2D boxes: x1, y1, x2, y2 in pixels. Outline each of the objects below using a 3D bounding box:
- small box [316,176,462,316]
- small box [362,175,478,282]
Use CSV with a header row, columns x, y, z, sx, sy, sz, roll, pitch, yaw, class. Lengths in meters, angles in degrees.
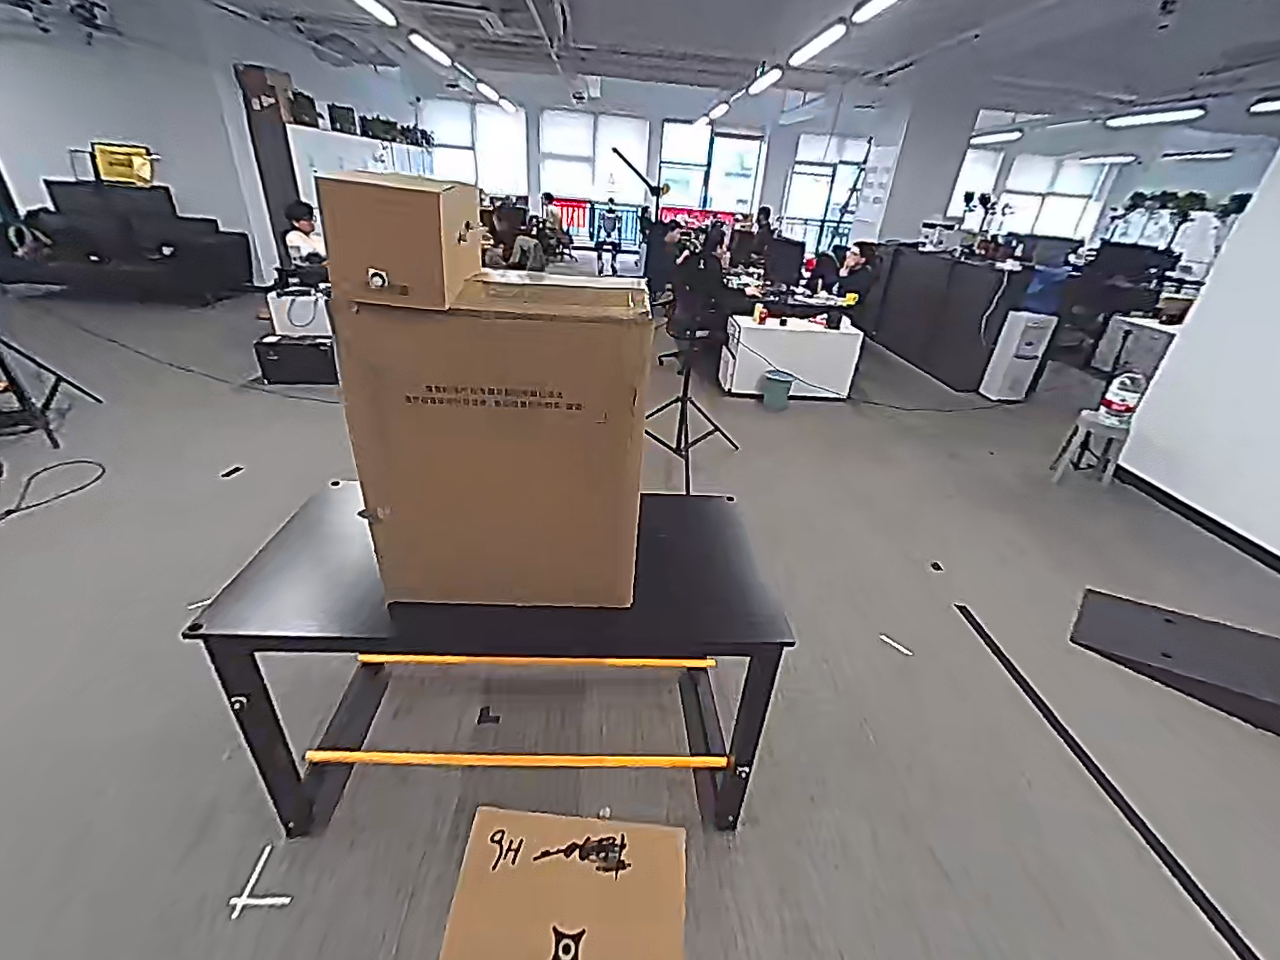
x,y,z,sx,sy,sz,roll,pitch,yaw,class
-0.379,-0.371,0.853,0.168,0.176,0.179,1,32,-9,small box
-0.409,-0.467,1.018,0.168,0.176,0.179,4,28,-2,small box
